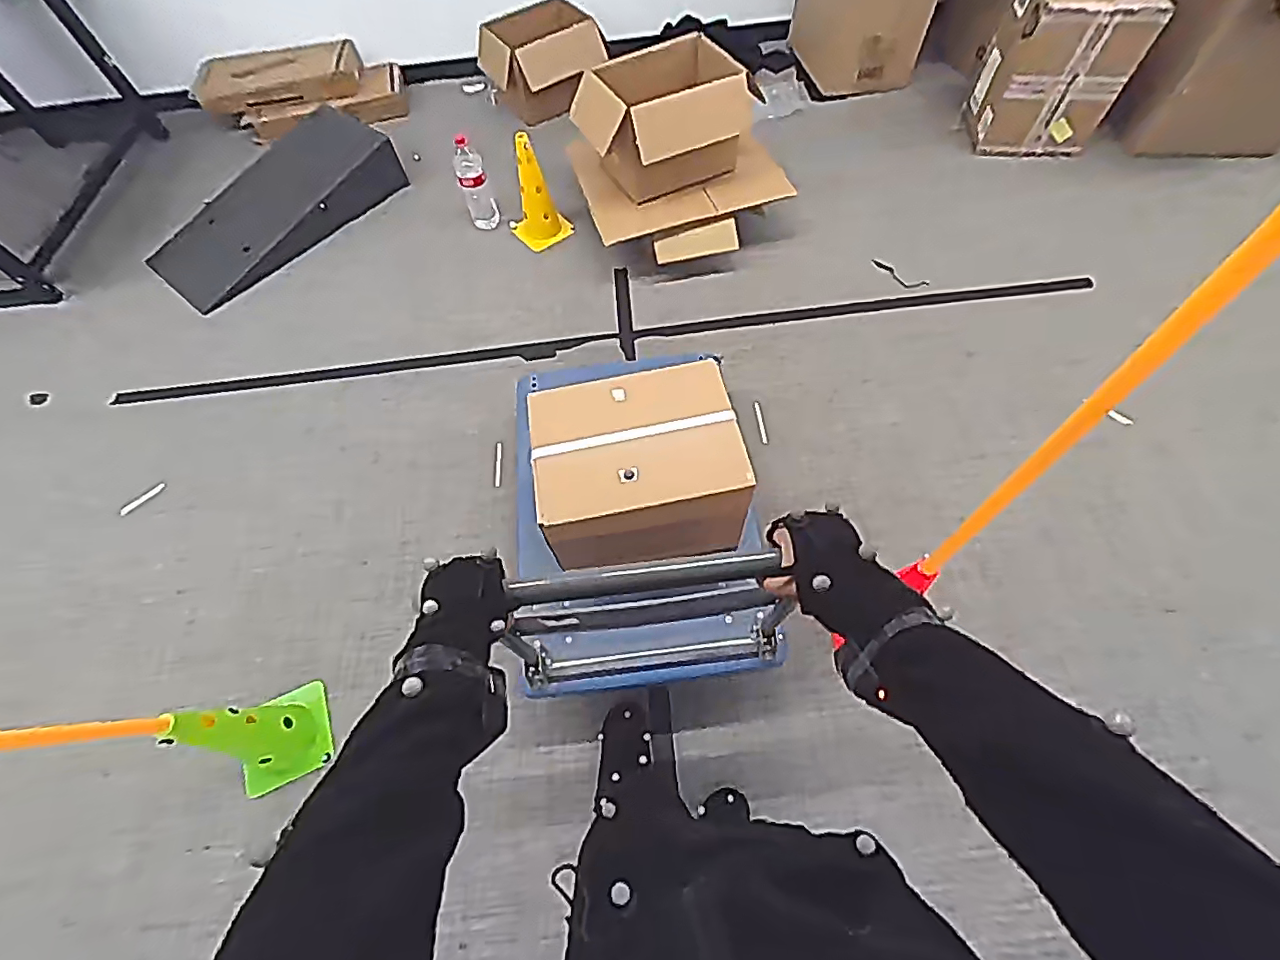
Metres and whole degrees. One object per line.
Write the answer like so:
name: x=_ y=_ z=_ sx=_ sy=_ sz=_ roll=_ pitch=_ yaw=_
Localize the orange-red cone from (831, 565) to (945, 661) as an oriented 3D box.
orange-red cone: x=0.570 y=0.260 z=1.178 sx=0.199 sy=0.360 sz=0.198 roll=0 pitch=62 yaw=3
